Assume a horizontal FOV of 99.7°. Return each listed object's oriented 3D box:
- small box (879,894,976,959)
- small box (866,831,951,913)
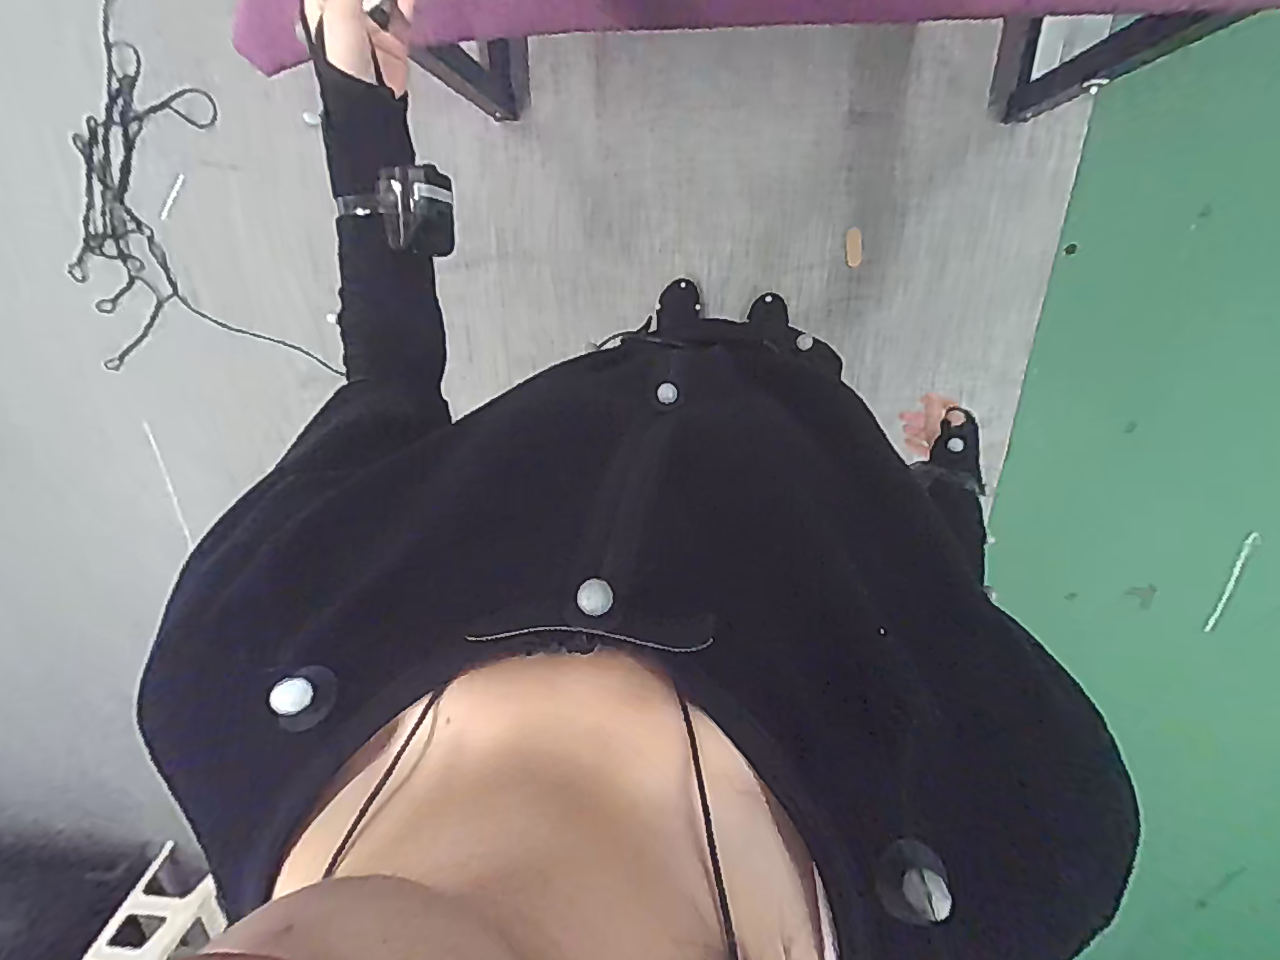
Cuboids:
[{"bbox_3d":[0.706,1.158,1.329,0.179,0.176,0.168,-5,110,9],"label":"small box"},{"bbox_3d":[0.726,1.094,1.477,0.168,0.176,0.179,-6,110,9],"label":"small box"}]
